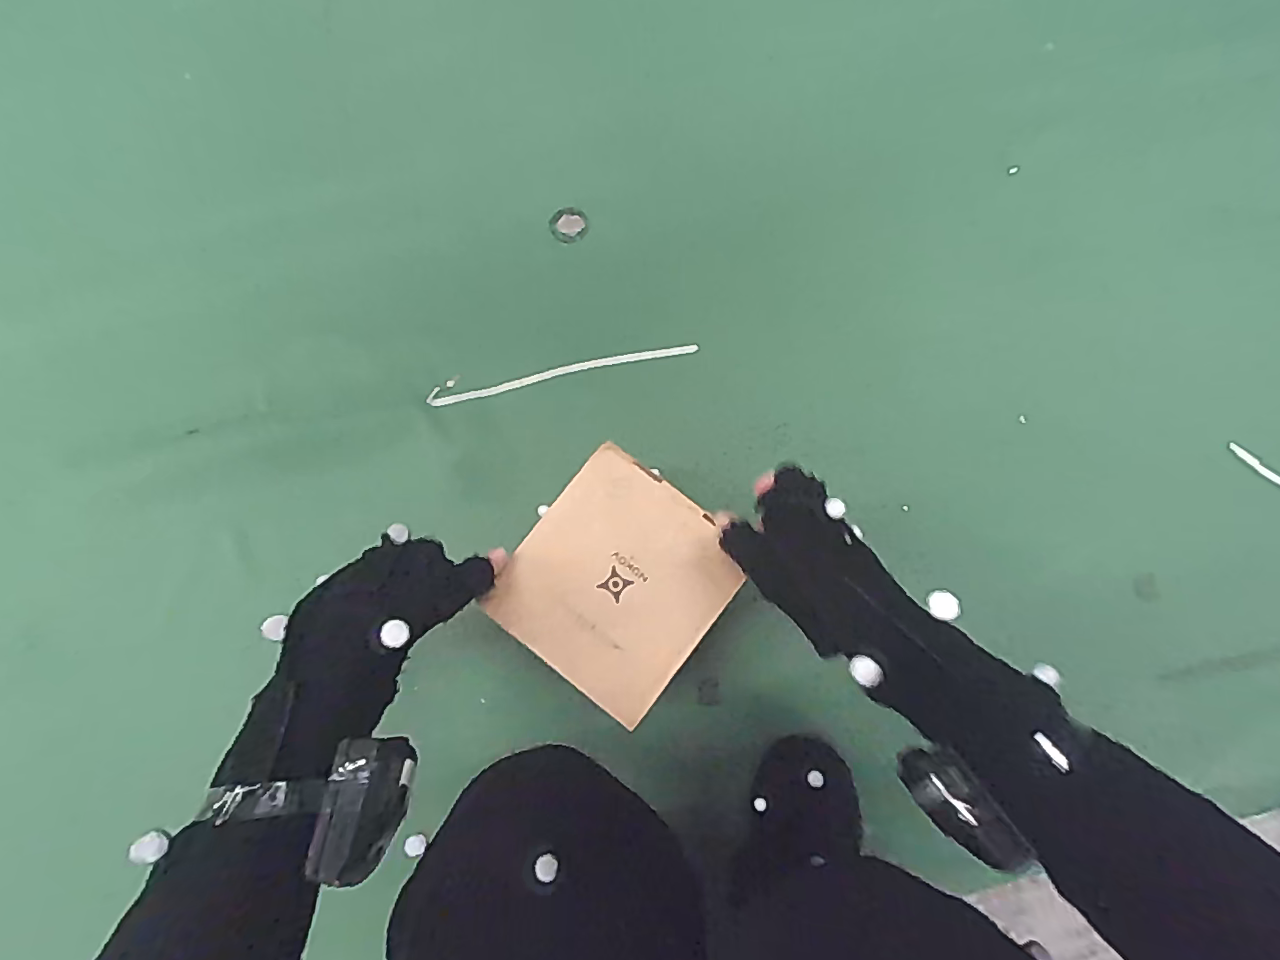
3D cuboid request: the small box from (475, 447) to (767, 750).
[{"bbox_3d":[-0.014,0.099,0.500,0.168,0.176,0.179,39,85,7],"label":"small box"}]
